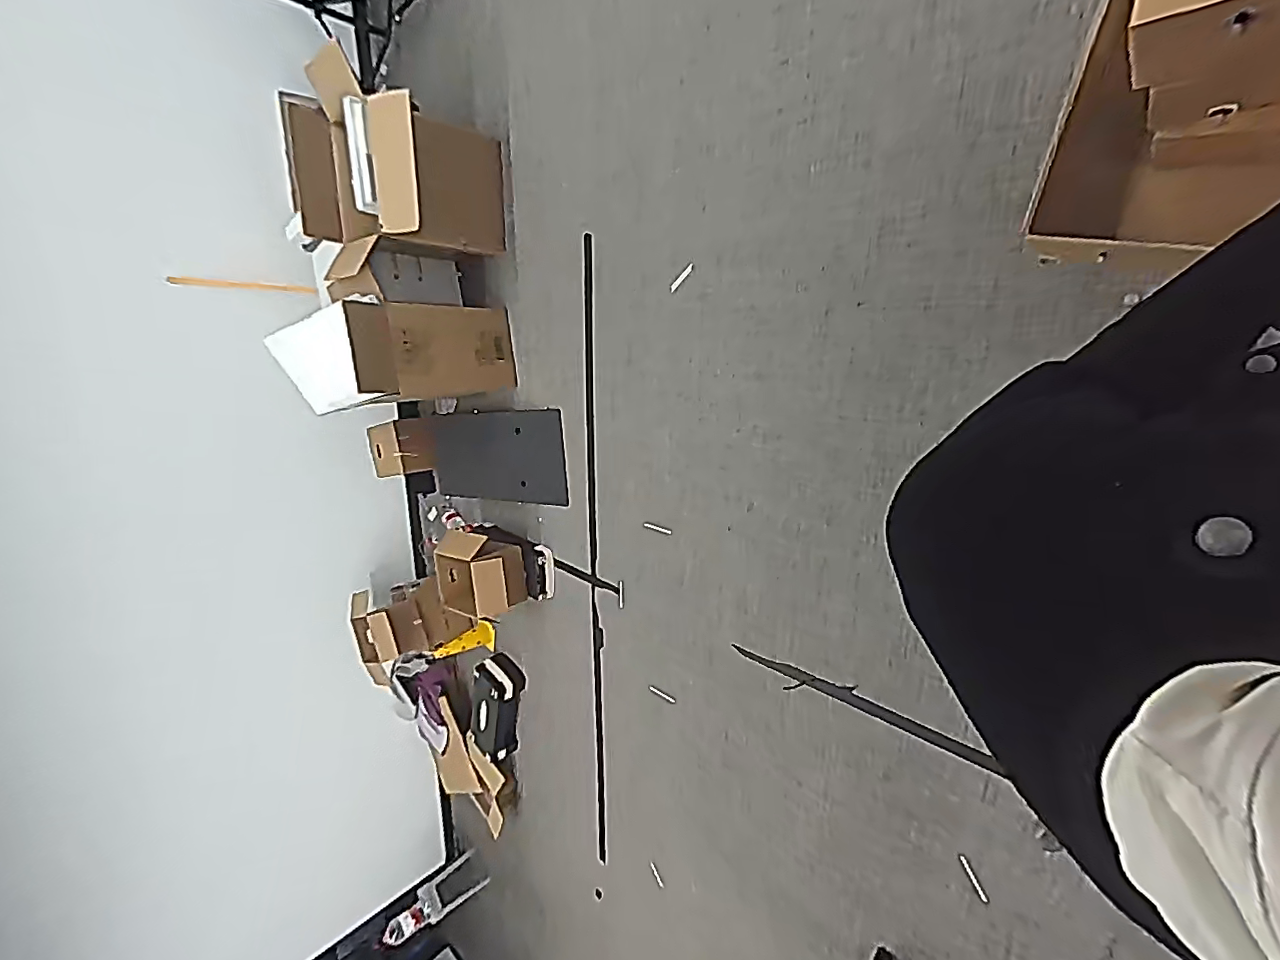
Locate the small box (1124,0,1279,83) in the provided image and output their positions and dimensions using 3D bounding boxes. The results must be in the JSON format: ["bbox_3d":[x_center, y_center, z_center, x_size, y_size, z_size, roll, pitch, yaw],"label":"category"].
[{"bbox_3d":[0.579,-0.501,0.493,0.179,0.176,0.168,15,110,41],"label":"small box"}]
